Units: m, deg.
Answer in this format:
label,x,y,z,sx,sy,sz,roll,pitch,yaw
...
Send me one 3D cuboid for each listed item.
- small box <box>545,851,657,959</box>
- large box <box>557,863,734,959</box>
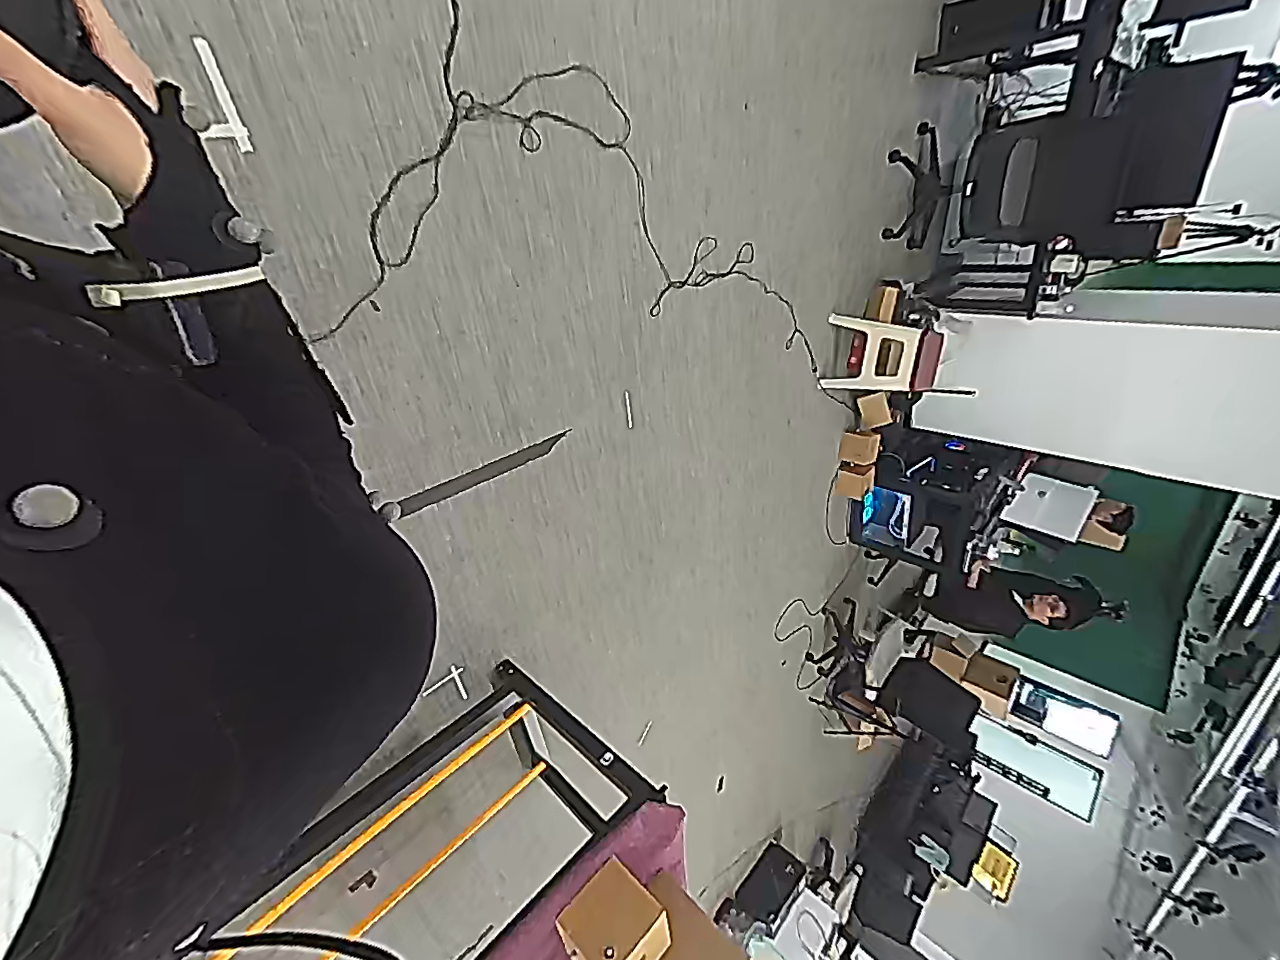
label,x,y,z,sx,sy,sz,roll,pitch,yaw
small box,-0.085,0.990,1.211,0.179,0.176,0.168,-30,128,-35
large box,0.032,1.293,1.356,0.320,0.320,0.408,-28,123,-35
